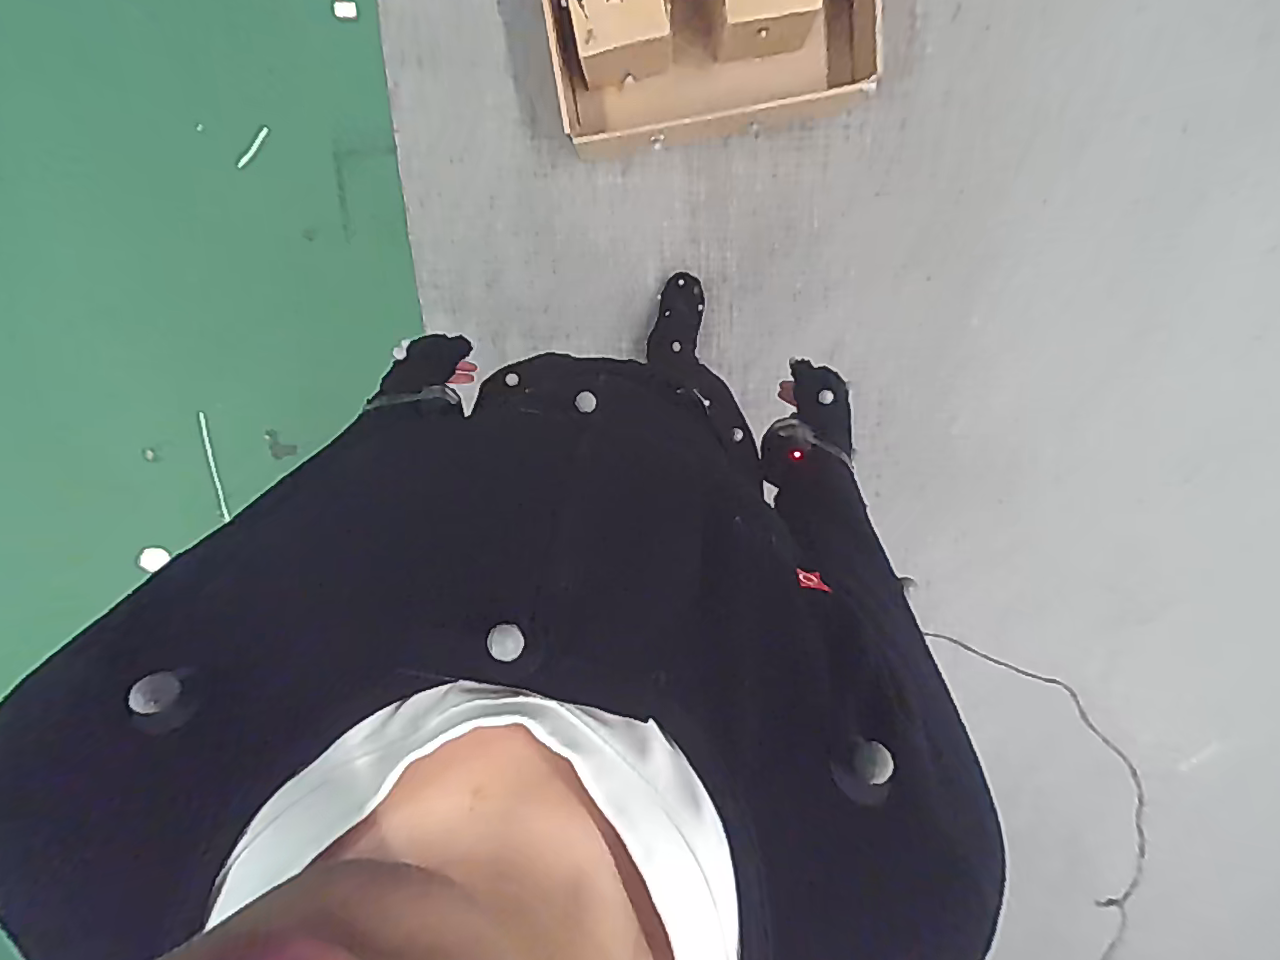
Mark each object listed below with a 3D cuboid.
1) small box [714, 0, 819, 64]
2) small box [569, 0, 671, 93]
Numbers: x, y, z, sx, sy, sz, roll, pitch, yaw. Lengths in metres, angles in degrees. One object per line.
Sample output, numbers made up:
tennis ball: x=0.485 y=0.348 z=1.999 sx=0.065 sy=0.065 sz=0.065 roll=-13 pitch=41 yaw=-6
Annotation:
small box: x=0.235 y=-0.938 z=1.040 sx=0.179 sy=0.176 sz=0.168 roll=-6 pitch=107 yaw=5
small box: x=-0.042 y=-0.900 z=1.062 sx=0.179 sy=0.176 sz=0.168 roll=-11 pitch=106 yaw=4
